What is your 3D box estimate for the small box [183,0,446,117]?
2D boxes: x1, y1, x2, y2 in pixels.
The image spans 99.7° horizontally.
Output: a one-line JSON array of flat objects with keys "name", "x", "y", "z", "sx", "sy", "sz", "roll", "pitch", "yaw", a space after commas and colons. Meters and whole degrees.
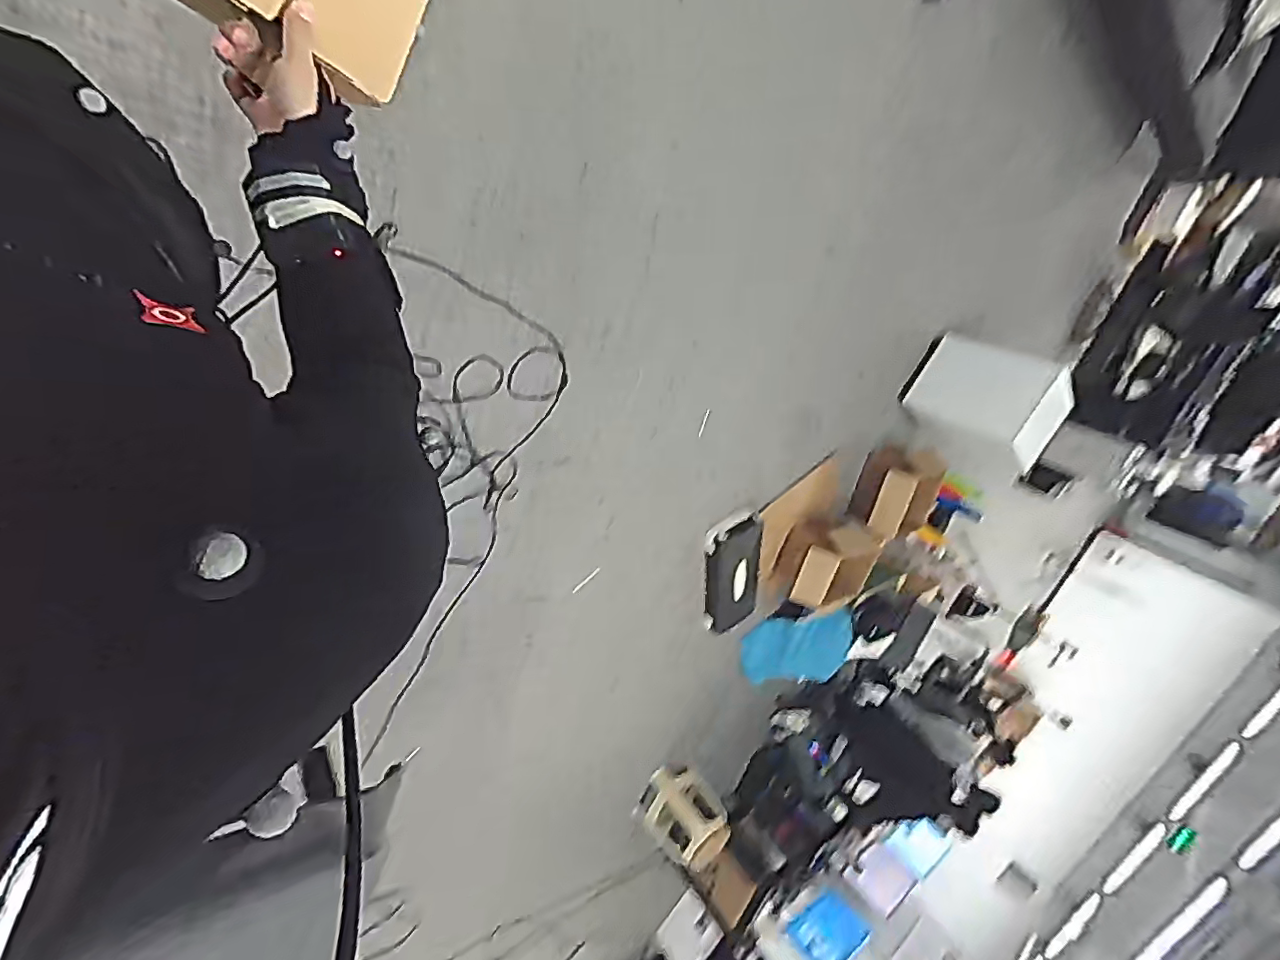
[{"name": "small box", "x": -0.273, "y": -0.444, "z": 0.446, "sx": 0.168, "sy": 0.176, "sz": 0.179, "roll": 18, "pitch": 104, "yaw": -50}]
